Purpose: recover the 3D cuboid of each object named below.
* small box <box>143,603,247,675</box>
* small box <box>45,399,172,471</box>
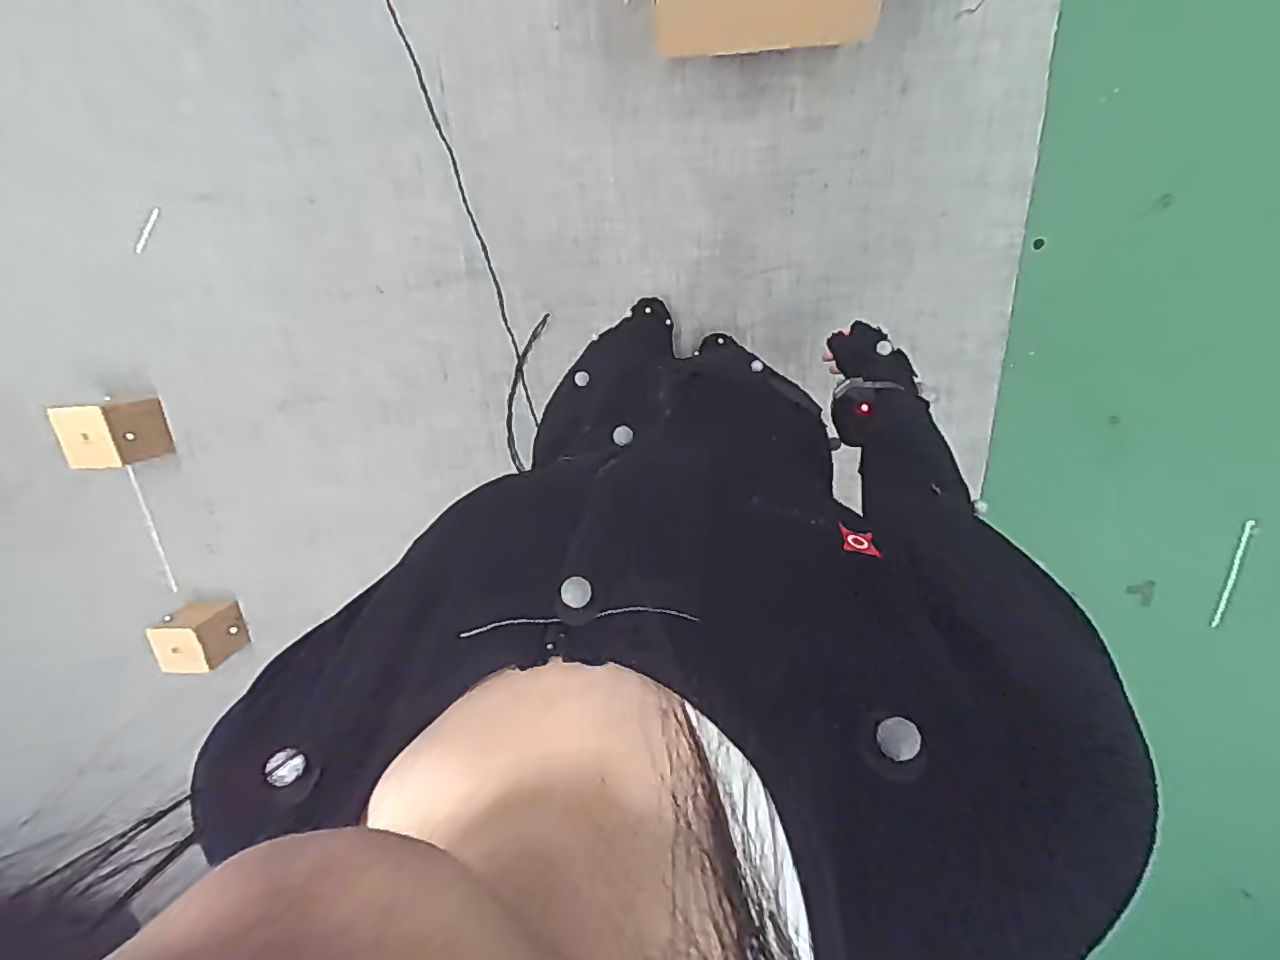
[{"bbox_3d":[-1.442,0.513,1.762,0.179,0.176,0.168,-2,109,7],"label":"small box"},{"bbox_3d":[-1.508,-0.134,1.546,0.168,0.176,0.179,-2,109,6],"label":"small box"}]
